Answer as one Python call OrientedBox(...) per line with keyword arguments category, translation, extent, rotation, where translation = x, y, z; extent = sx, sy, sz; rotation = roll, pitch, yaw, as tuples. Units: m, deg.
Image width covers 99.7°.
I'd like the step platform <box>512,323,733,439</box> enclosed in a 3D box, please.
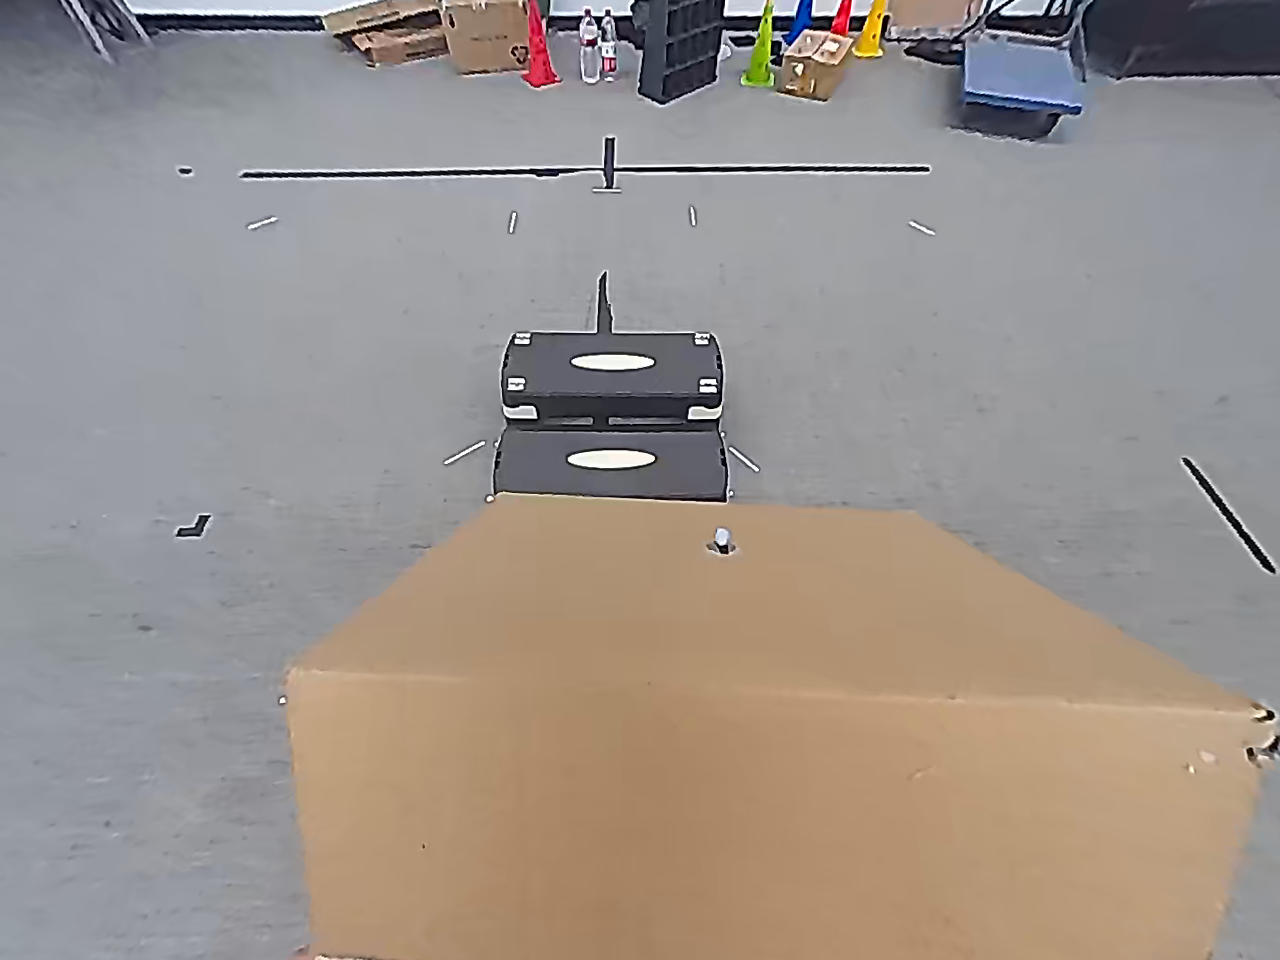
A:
OrientedBox(category="step platform", translation=(-0.052, -0.316, 1.699), extent=(0.684, 0.204, 0.286), rotation=(5, 56, 1))
